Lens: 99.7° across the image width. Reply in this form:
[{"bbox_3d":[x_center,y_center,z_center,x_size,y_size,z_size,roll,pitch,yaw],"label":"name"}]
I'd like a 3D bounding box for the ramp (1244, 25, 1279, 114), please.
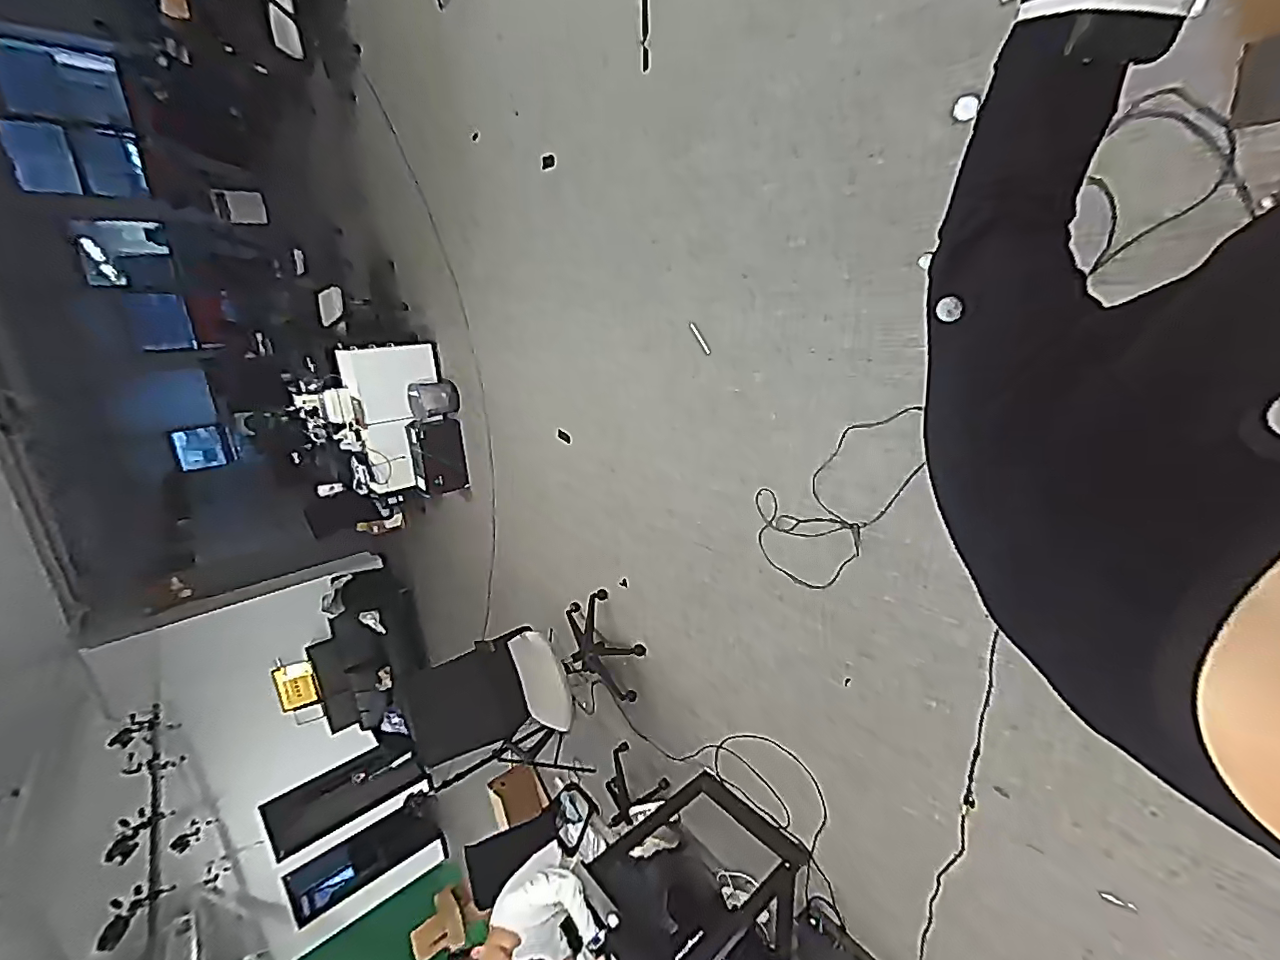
[{"bbox_3d":[1.108,-1.030,0.559,0.509,0.206,0.991,14,115,48],"label":"ramp"}]
